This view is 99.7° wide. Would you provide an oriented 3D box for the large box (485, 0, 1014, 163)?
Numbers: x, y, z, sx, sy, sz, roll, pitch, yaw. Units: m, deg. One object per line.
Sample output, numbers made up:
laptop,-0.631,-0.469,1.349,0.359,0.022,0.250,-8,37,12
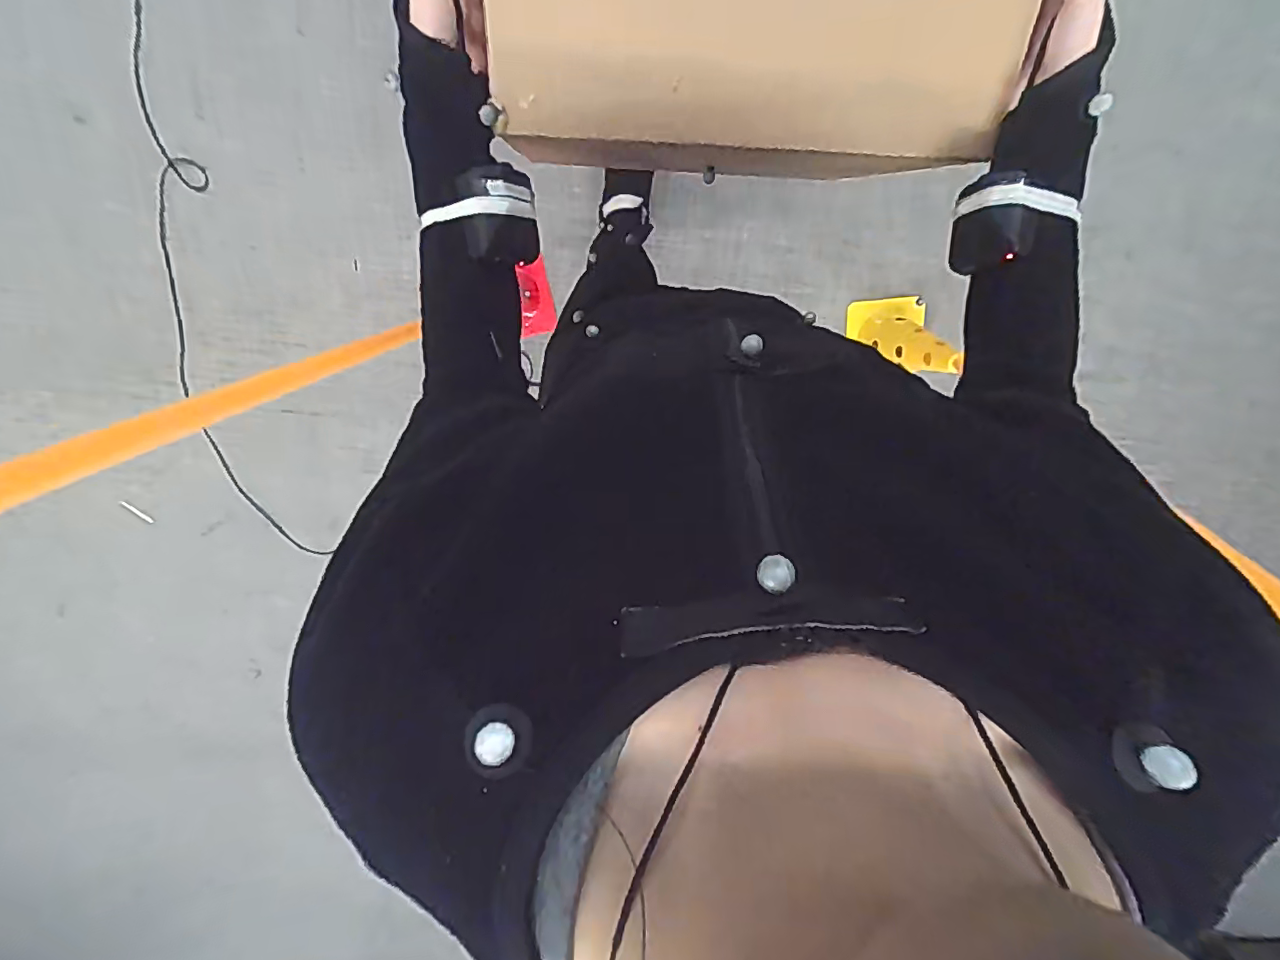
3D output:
large box,0.079,-0.480,0.499,0.408,0.320,0.320,0,116,-5
